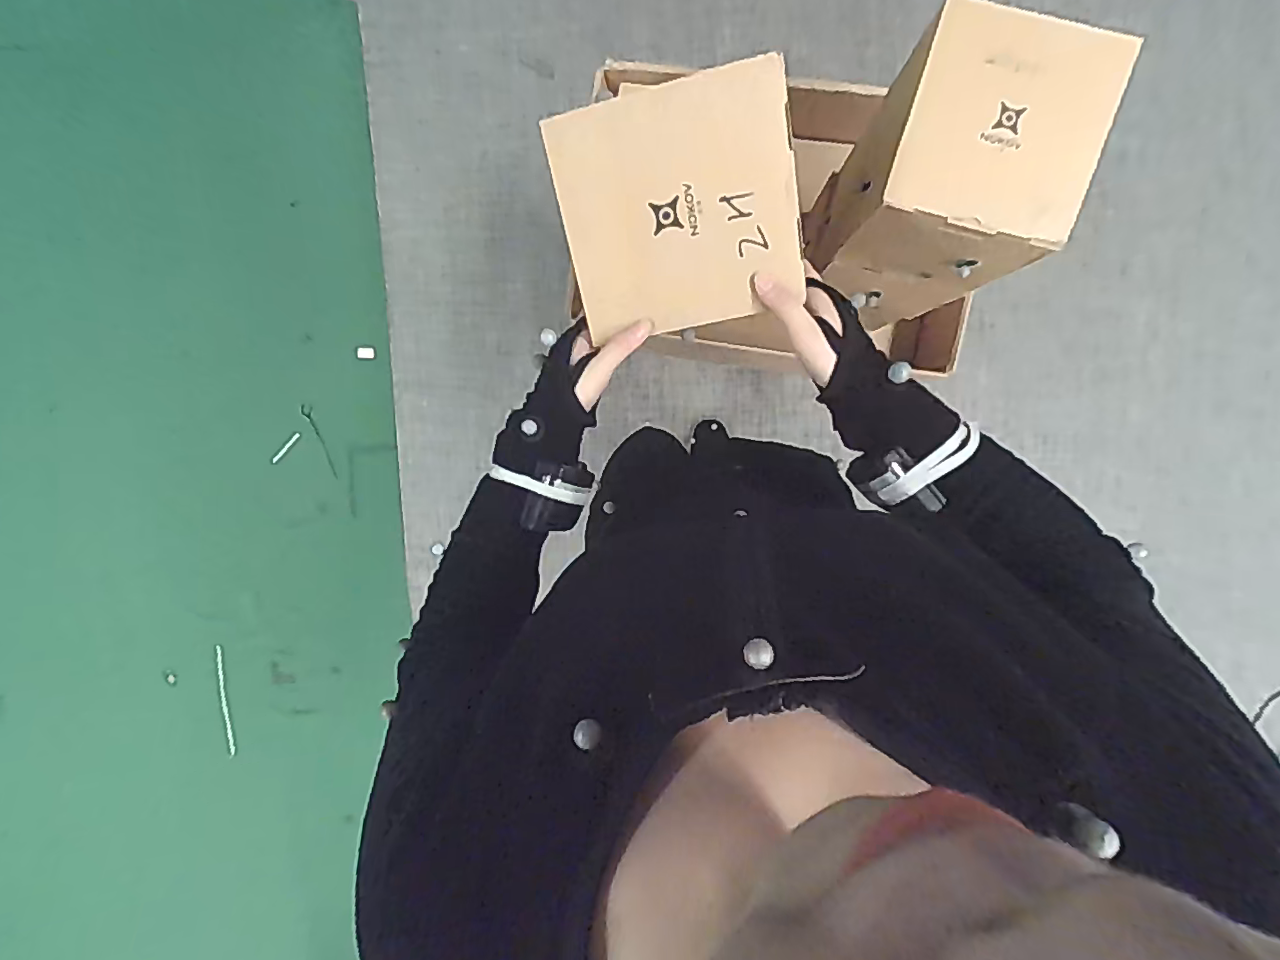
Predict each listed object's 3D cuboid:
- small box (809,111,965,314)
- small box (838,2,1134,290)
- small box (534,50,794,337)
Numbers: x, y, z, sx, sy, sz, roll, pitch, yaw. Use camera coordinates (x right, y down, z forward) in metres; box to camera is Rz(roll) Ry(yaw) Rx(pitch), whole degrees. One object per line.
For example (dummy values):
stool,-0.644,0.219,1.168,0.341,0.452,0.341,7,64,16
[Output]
small box,0.333,-0.329,0.703,0.168,0.176,0.179,16,99,3
small box,0.316,-0.308,0.541,0.168,0.176,0.179,16,97,4
small box,0.031,-0.232,0.478,0.179,0.176,0.168,-9,111,10
